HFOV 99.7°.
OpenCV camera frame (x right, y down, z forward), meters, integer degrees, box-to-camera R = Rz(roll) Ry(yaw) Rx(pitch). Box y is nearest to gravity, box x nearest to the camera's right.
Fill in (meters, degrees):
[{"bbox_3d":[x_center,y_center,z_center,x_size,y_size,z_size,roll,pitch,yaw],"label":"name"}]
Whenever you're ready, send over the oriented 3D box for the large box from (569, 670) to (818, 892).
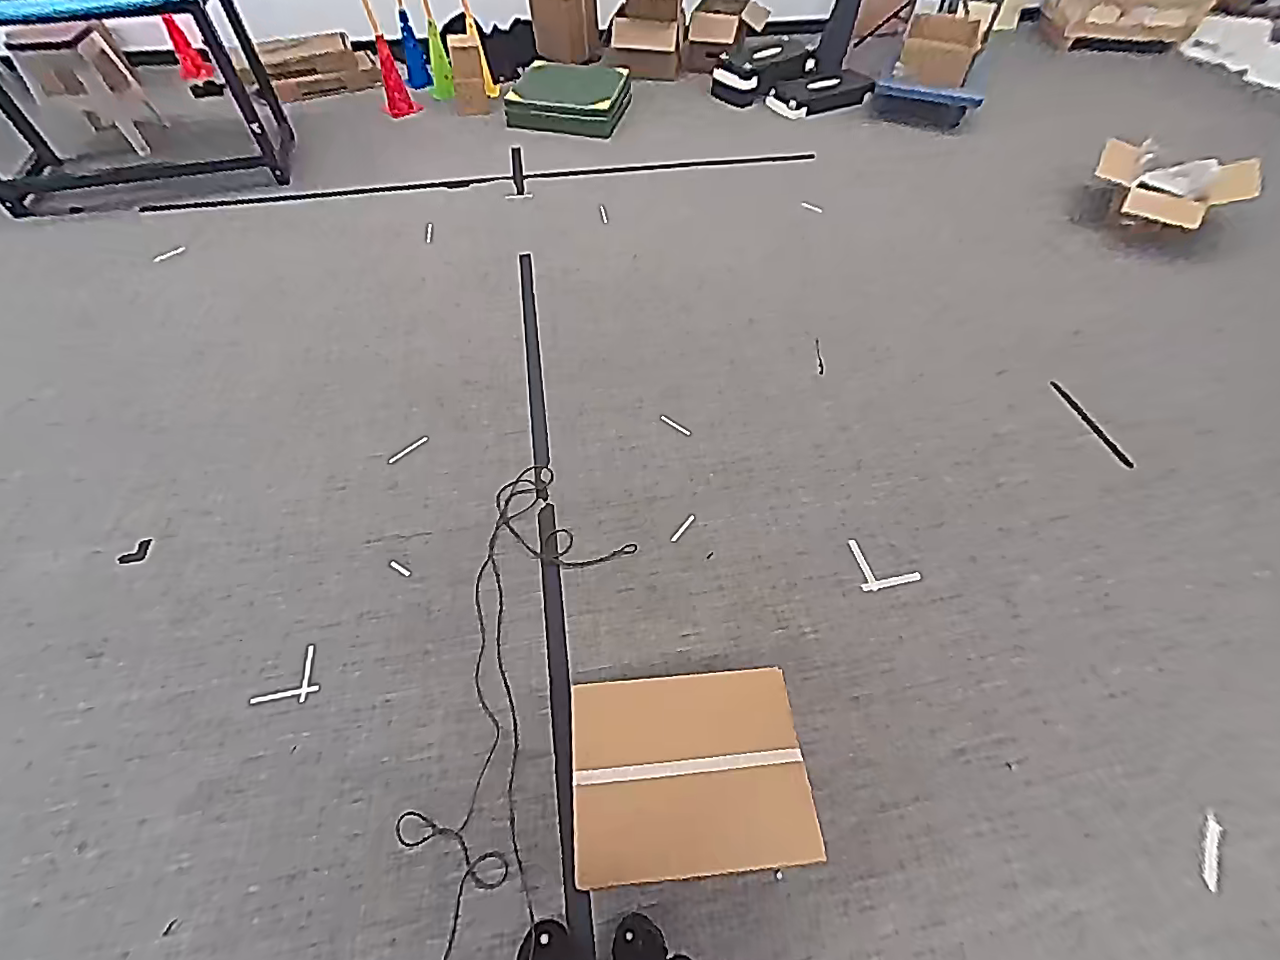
[{"bbox_3d":[0.077,0.593,1.066,0.408,0.320,0.320,-3,53,-4],"label":"large box"}]
